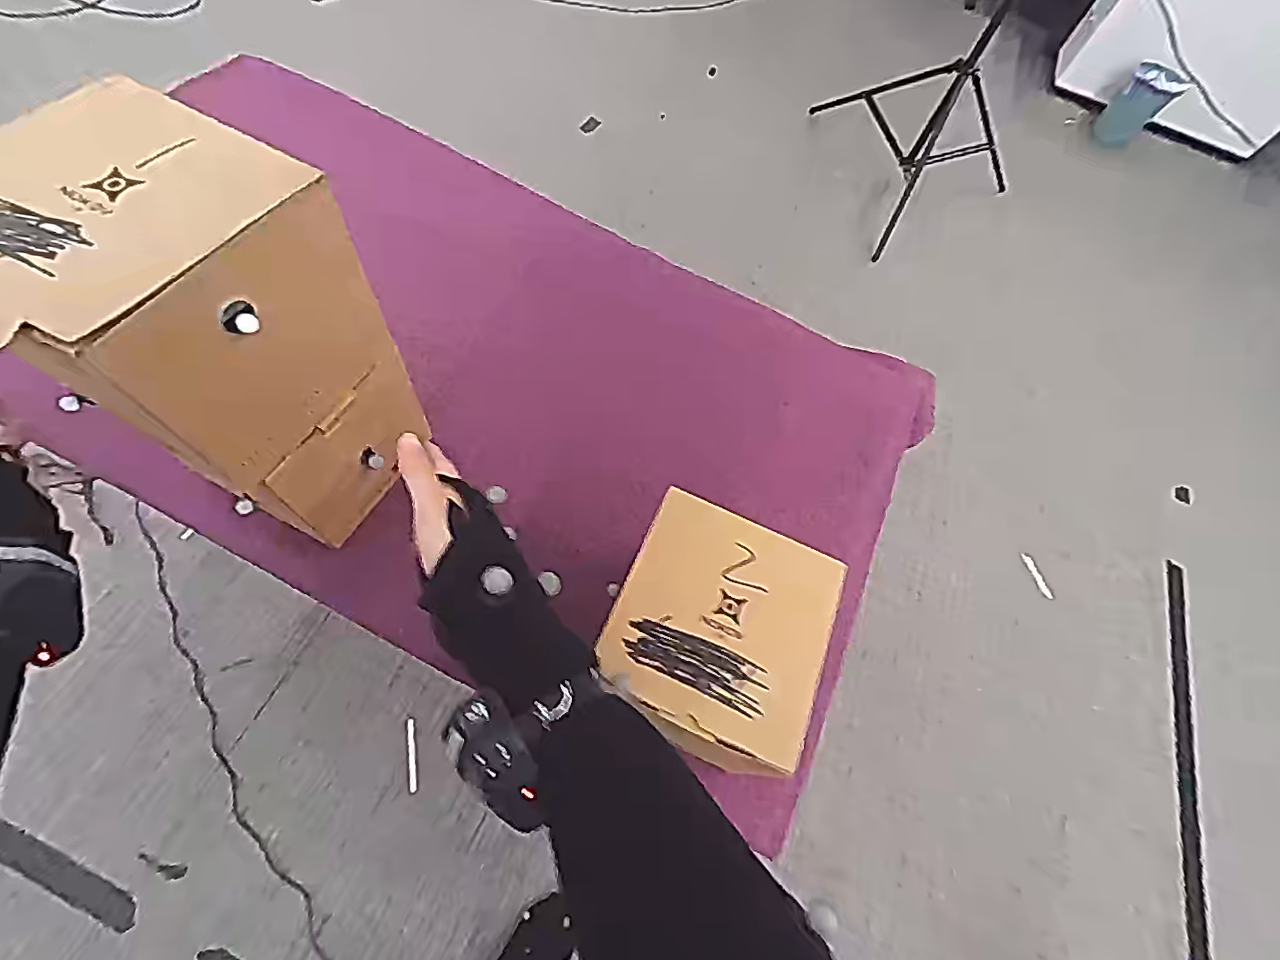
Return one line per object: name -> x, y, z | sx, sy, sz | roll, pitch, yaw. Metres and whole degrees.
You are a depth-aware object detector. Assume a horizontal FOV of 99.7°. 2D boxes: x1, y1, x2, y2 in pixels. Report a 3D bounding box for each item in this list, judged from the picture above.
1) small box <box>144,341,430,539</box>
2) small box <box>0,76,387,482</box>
small box -> -0.336, -0.061, 0.530 | 0.179, 0.176, 0.168 | 27, 63, 4
small box -> -0.312, -0.127, 0.380 | 0.168, 0.176, 0.179 | 28, 62, 5
